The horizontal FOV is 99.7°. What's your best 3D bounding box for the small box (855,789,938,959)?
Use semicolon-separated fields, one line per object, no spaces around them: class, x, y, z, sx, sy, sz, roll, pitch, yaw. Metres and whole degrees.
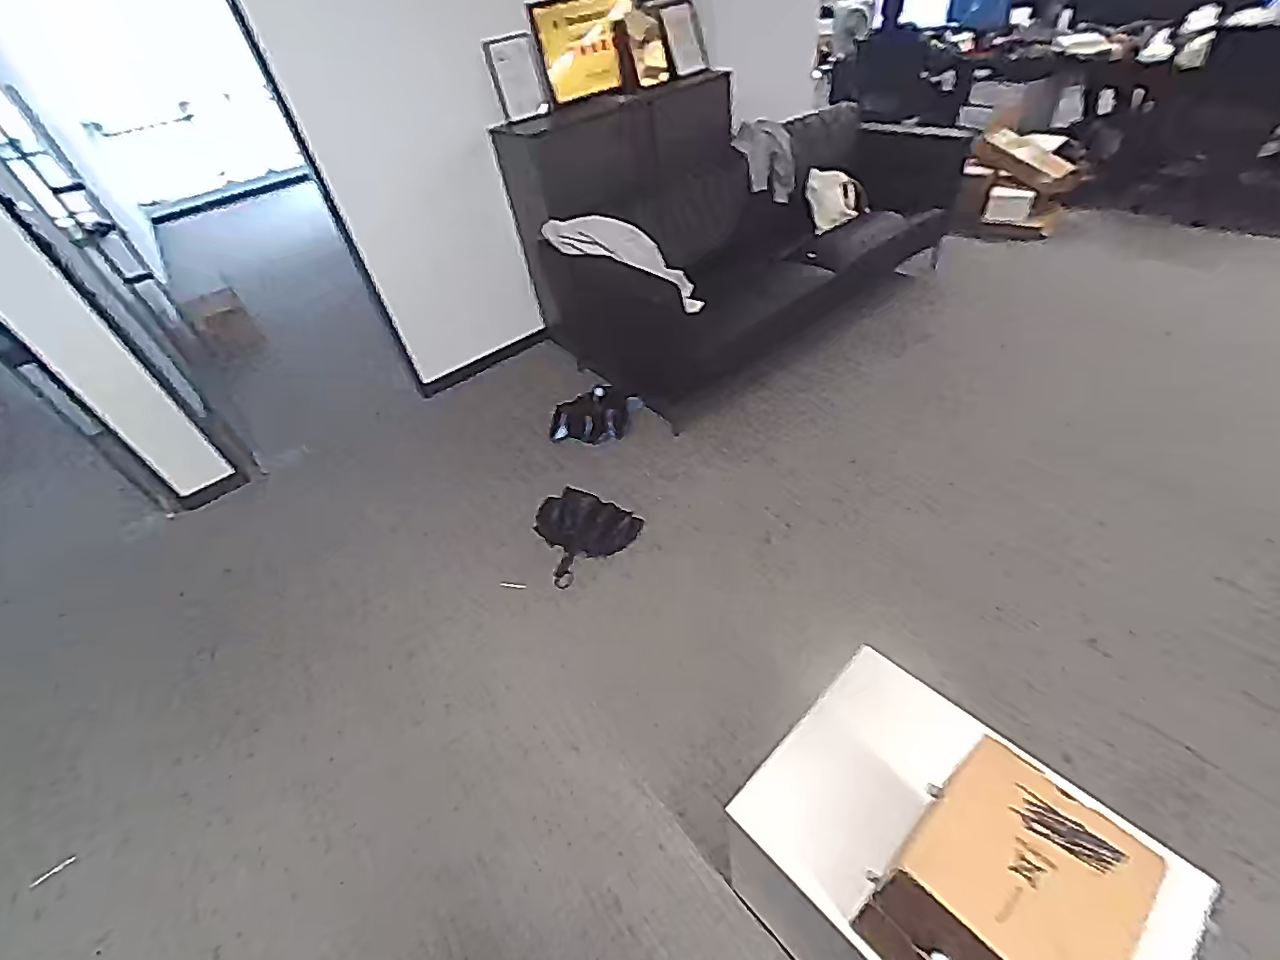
small box;0.387;0.536;0.668;0.179;0.176;0.168;-35;49;-27

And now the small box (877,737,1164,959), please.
small box;0.370;0.415;0.557;0.179;0.176;0.168;-35;49;-25
